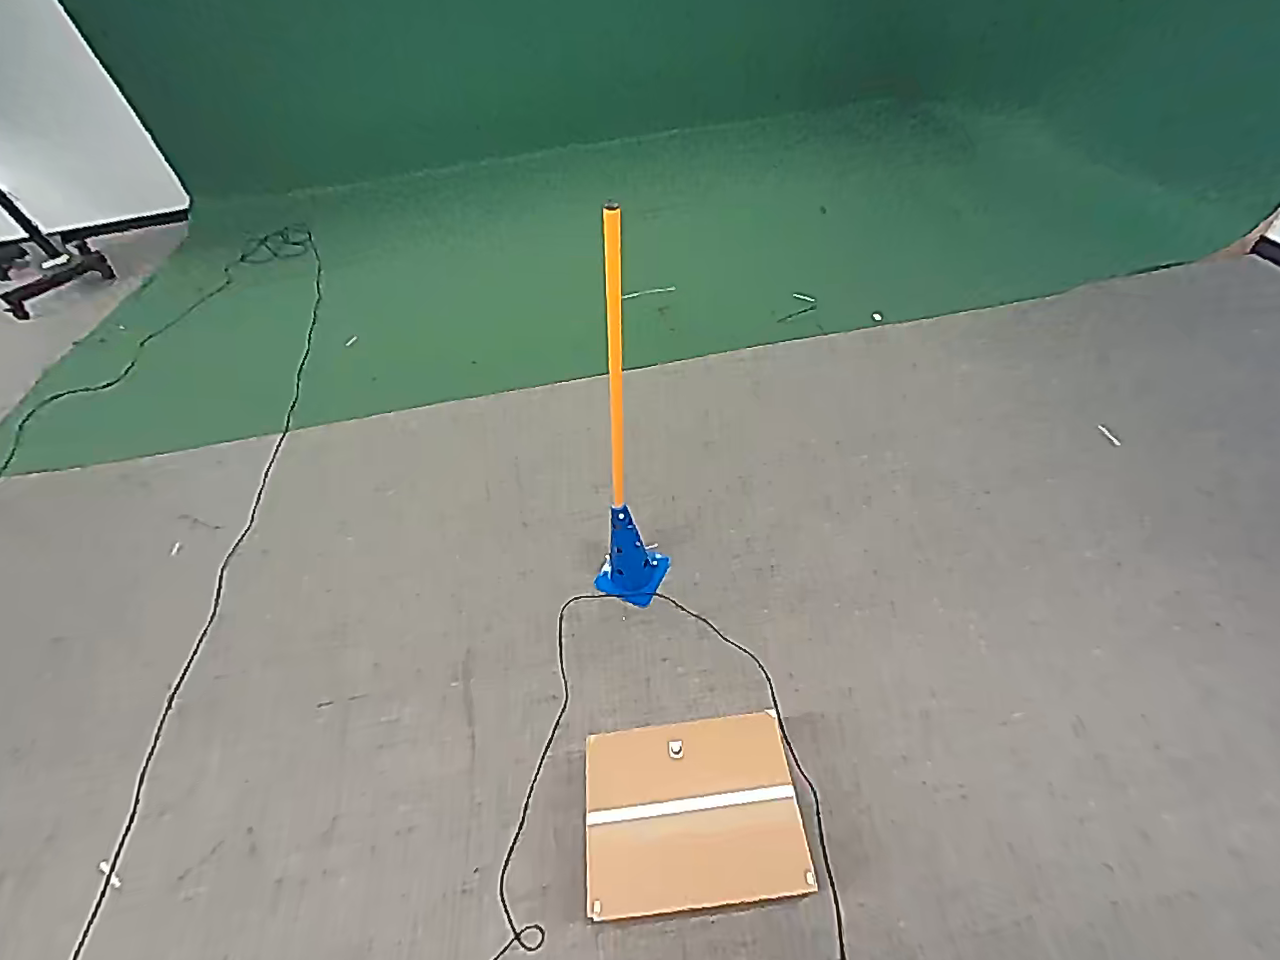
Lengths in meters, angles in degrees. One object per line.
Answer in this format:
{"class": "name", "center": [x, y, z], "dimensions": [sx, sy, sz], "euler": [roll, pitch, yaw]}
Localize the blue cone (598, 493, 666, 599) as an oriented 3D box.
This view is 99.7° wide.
{"class": "blue cone", "center": [-0.041, 0.173, 1.620], "dimensions": [0.192, 0.380, 0.193], "euler": [16, 51, 19]}
